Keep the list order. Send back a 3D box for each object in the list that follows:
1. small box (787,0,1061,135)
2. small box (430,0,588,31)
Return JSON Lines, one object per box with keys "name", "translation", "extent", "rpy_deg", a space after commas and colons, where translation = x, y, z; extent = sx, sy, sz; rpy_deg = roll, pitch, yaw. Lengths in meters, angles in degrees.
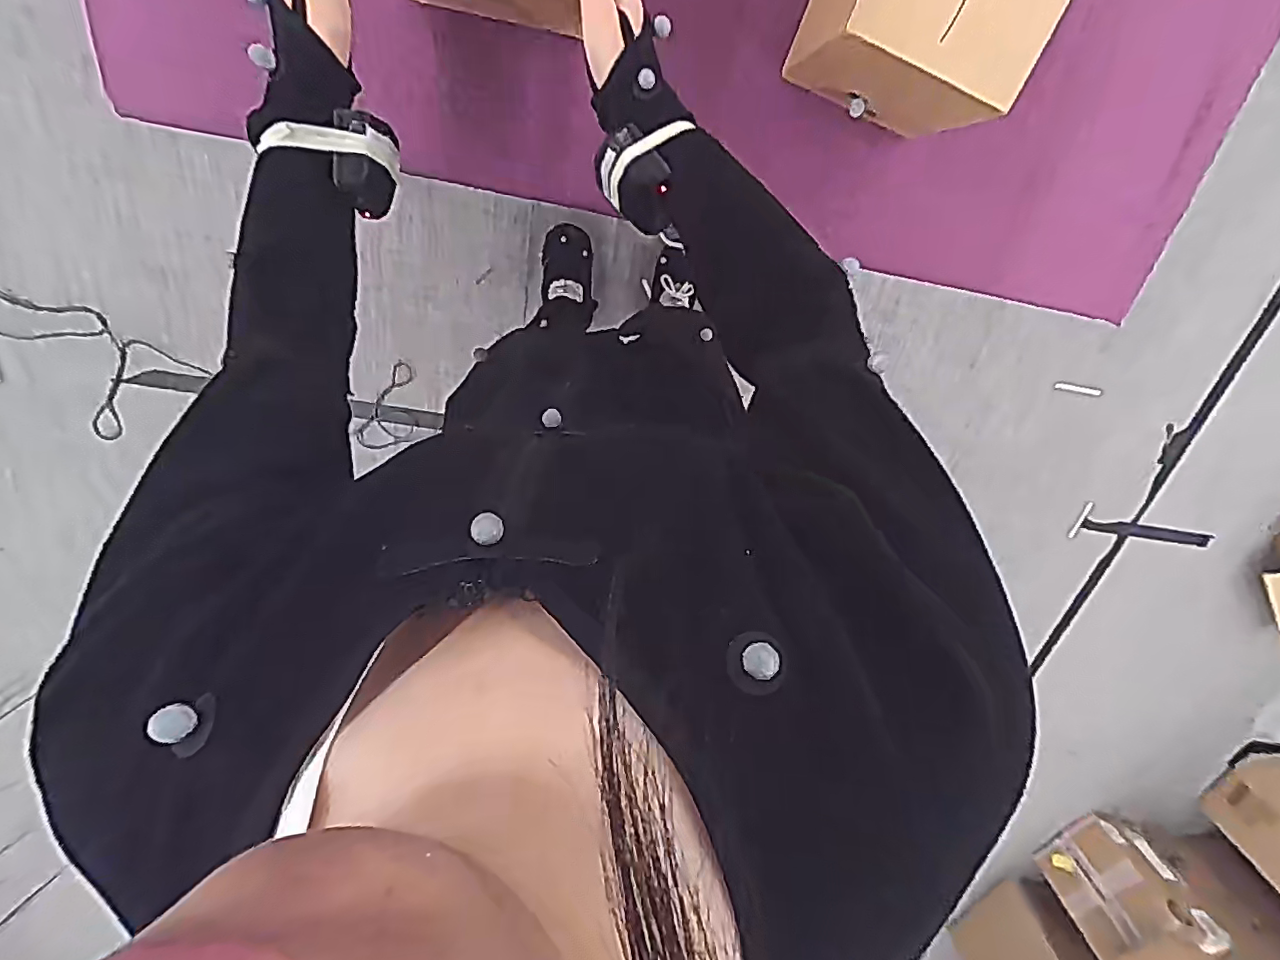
{"name": "small box", "translation": [0.258, -0.447, 0.491], "extent": [0.168, 0.176, 0.179], "rpy_deg": [17, 114, -13]}
{"name": "small box", "translation": [-0.119, -0.497, 0.433], "extent": [0.179, 0.176, 0.168], "rpy_deg": [7, 115, -8]}
